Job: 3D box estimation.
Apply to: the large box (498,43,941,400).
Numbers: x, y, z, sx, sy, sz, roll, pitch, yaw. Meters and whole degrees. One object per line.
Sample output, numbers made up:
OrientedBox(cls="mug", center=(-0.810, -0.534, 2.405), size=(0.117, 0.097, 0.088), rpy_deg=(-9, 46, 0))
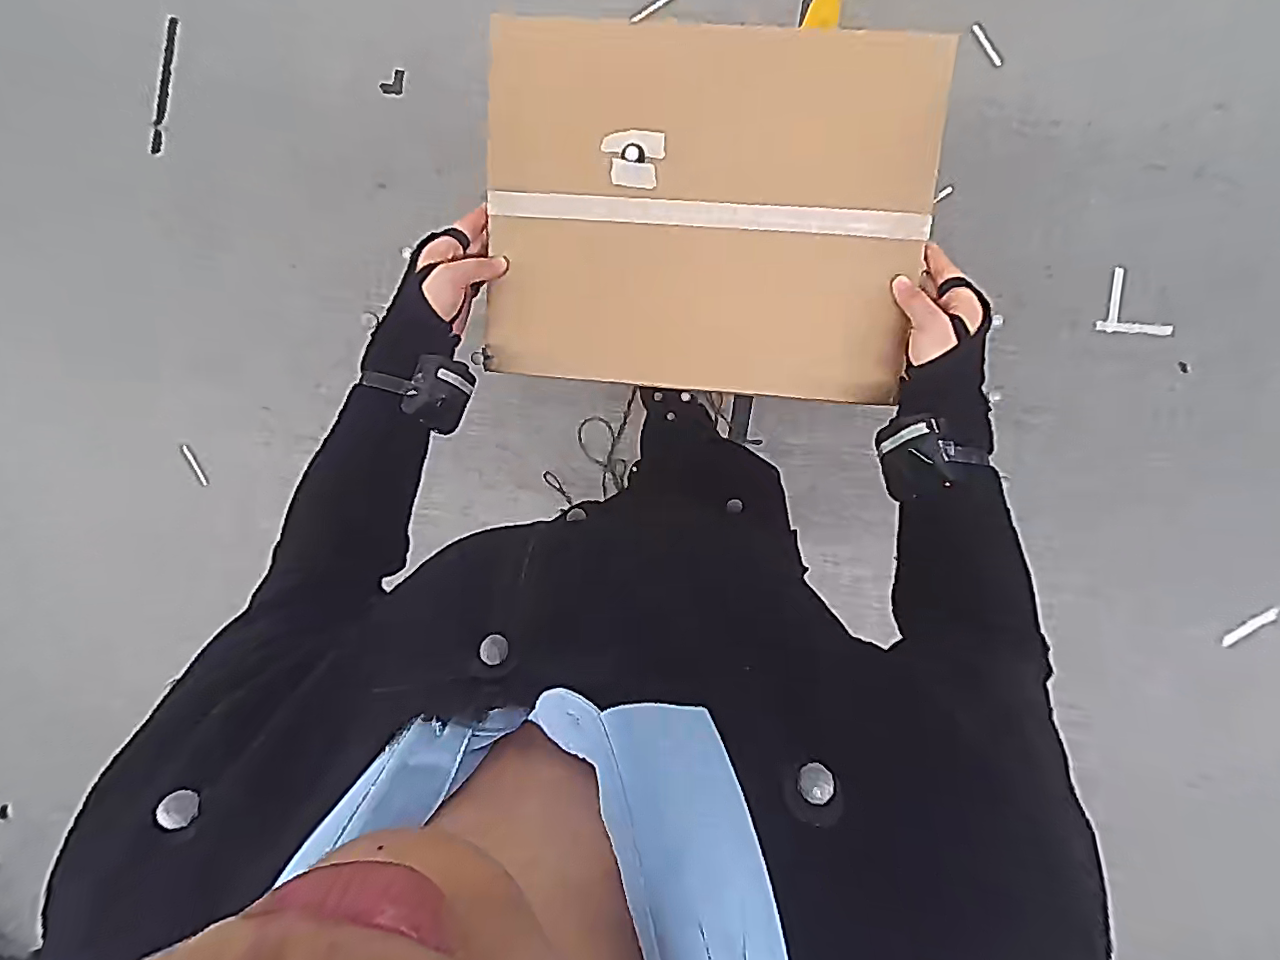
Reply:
OrientedBox(cls="large box", center=(0.076, -0.269, 0.661), size=(0.408, 0.320, 0.320), rpy_deg=(5, 99, 5))
